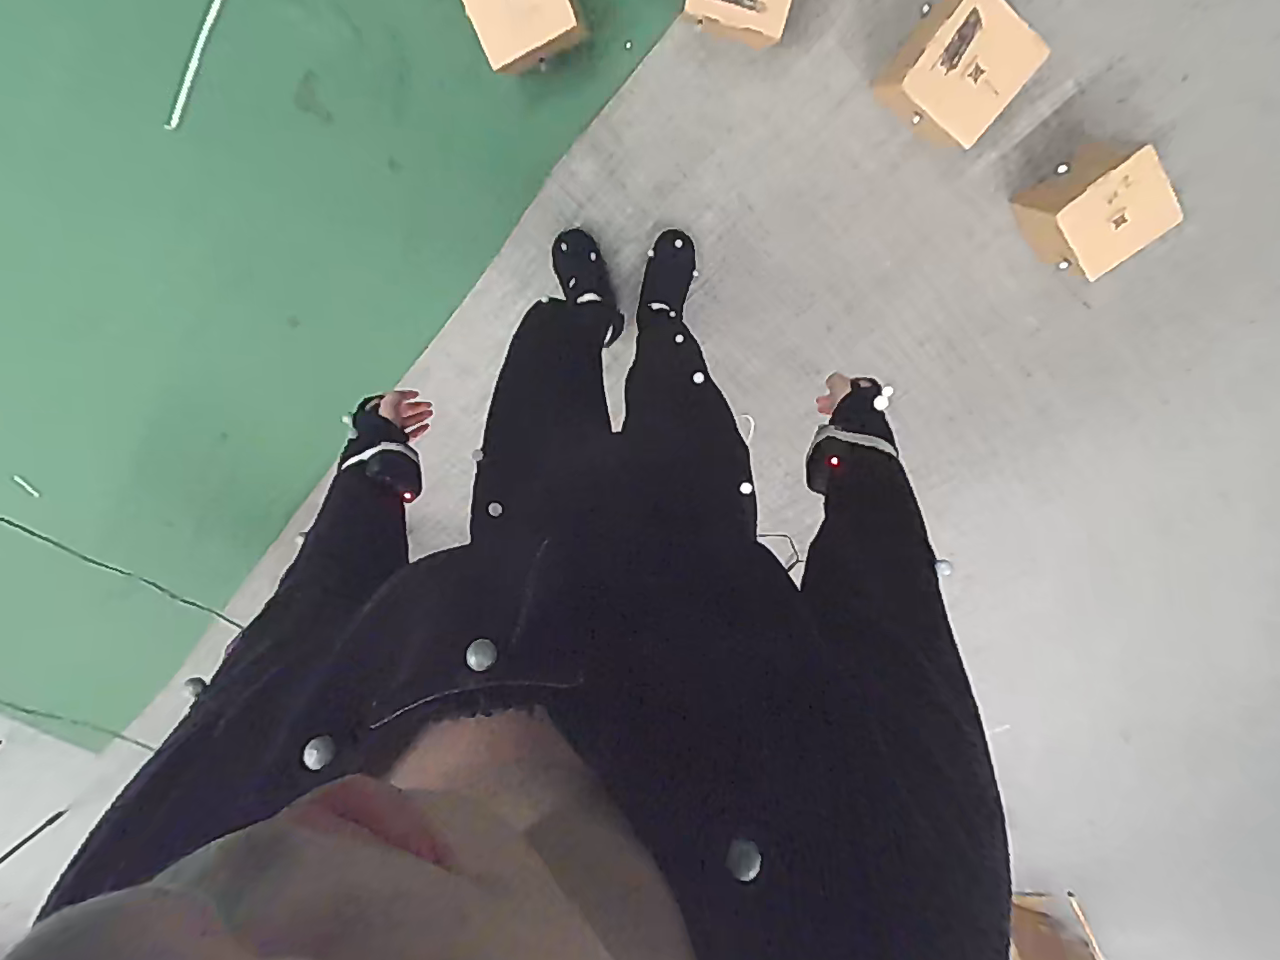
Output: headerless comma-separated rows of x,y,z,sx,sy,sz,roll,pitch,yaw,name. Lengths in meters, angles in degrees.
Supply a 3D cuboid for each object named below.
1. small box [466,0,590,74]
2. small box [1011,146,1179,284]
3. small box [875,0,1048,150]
-0.202,-0.844,0.941,0.168,0.176,0.179,-16,121,15,small box
0.887,-0.529,1.069,0.168,0.176,0.179,-38,113,25,small box
0.555,-0.722,0.962,0.179,0.176,0.168,29,121,-16,small box
